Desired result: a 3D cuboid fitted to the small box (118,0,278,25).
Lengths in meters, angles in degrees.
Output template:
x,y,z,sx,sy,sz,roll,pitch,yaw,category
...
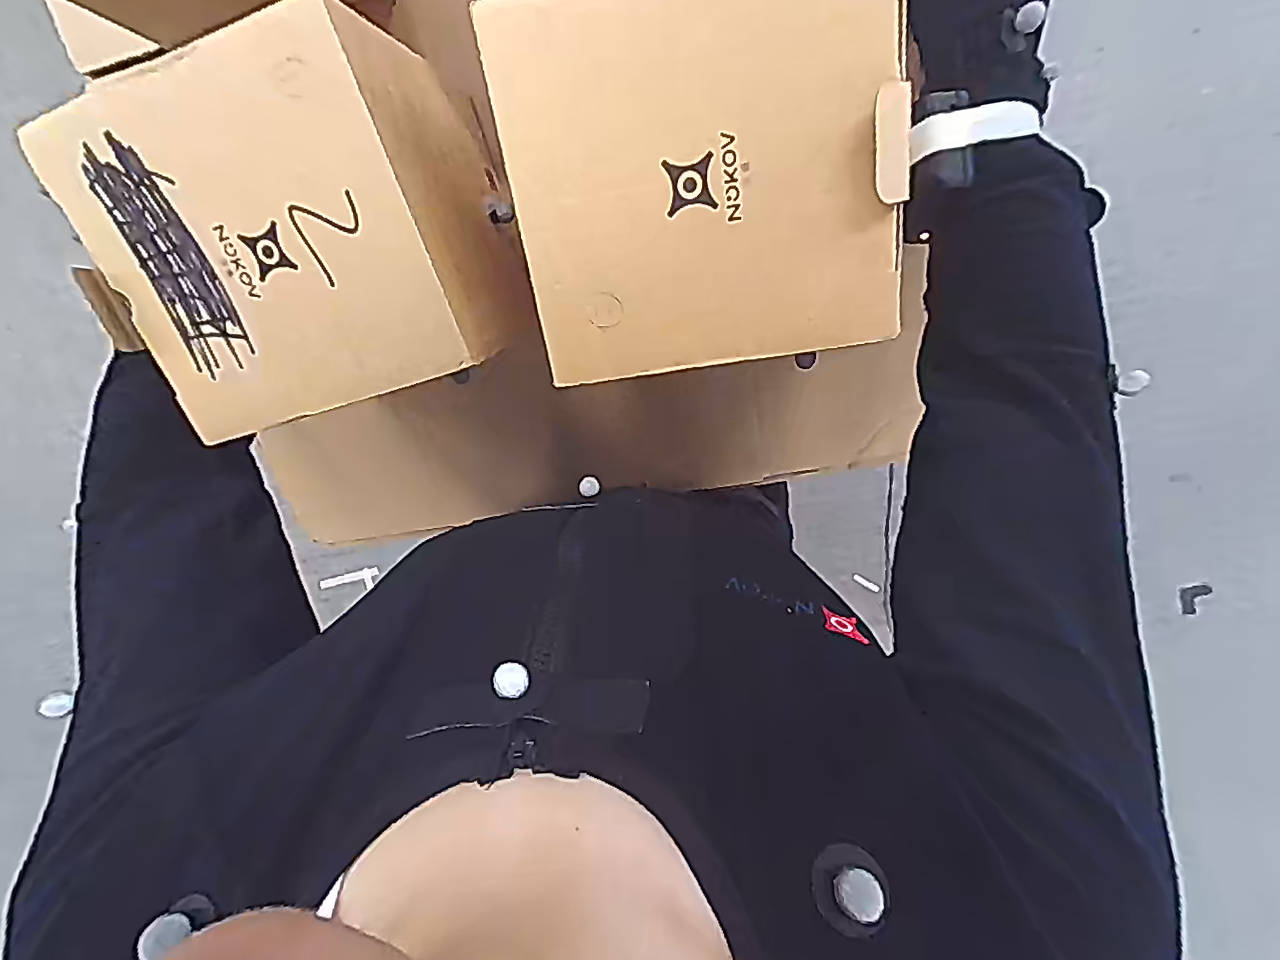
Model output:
x,y,z,sx,sy,sz,roll,pitch,yaw,category
-0.265,-0.373,0.269,0.168,0.176,0.179,-11,107,8,small box
